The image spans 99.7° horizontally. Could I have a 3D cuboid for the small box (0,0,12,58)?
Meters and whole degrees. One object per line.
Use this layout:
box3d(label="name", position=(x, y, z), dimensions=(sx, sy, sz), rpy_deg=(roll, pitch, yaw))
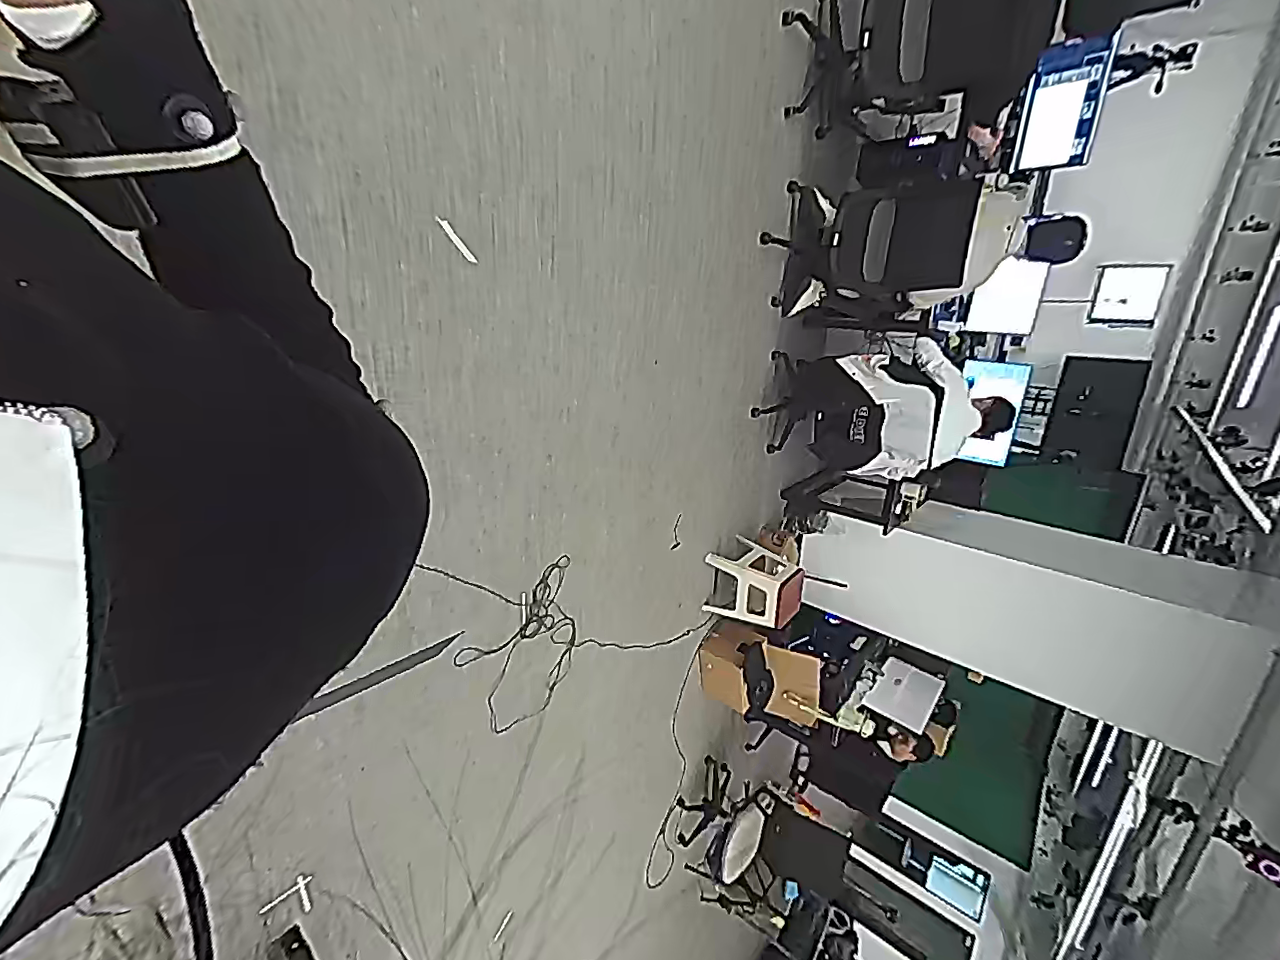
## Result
box3d(label="small box", position=(-0.731, -0.508, 0.492), dimensions=(0.179, 0.176, 0.168), rpy_deg=(-15, 116, -50))
